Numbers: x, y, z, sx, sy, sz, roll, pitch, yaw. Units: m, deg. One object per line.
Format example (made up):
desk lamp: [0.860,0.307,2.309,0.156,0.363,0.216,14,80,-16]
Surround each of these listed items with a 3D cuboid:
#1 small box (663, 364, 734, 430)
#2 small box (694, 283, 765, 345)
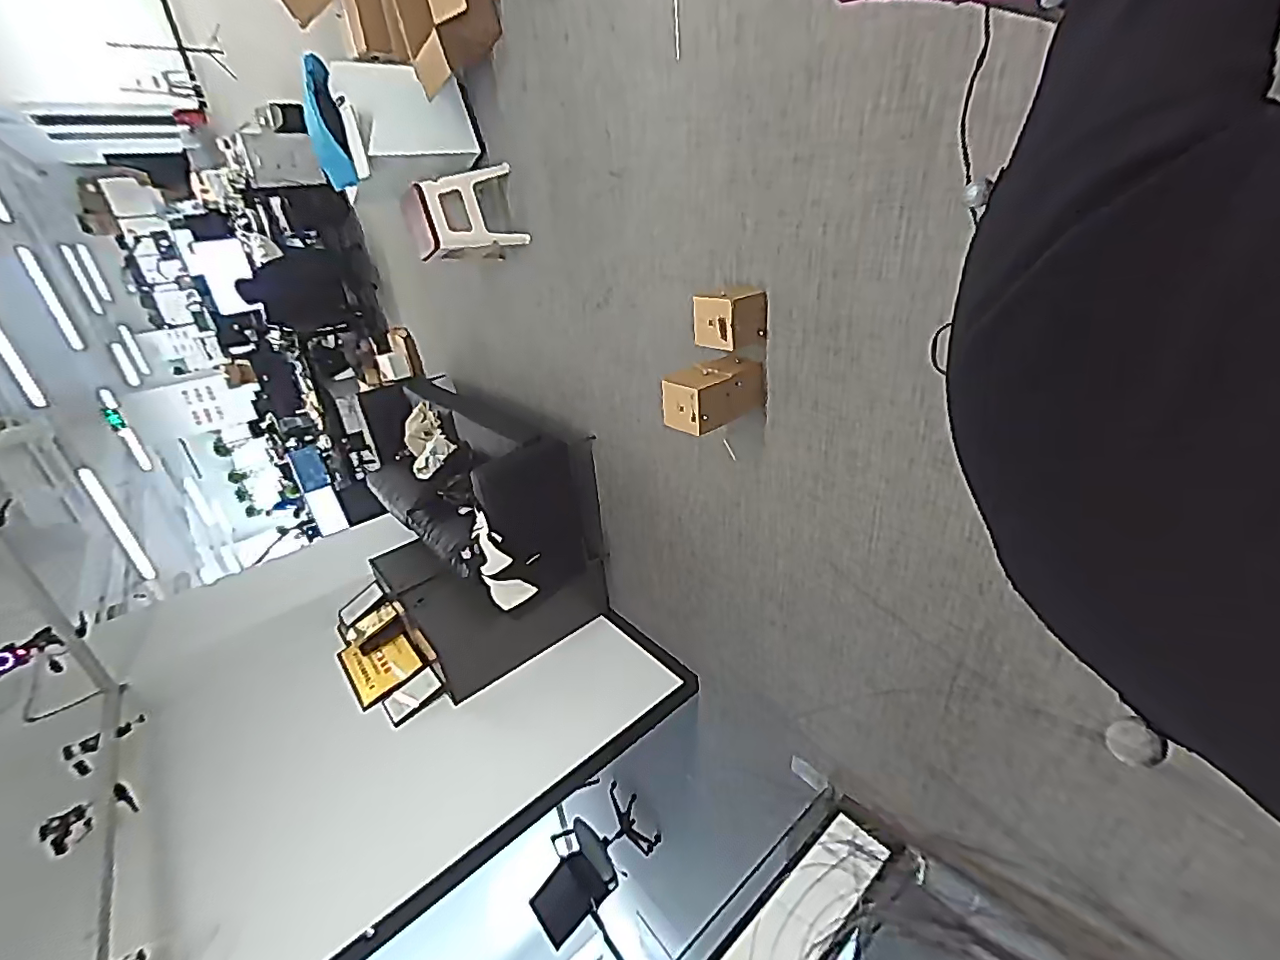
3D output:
small box: [0.200,-0.292,1.854,0.179,0.176,0.168,27,132,45]
small box: [0.305,-0.566,1.823,0.179,0.176,0.168,26,131,45]
